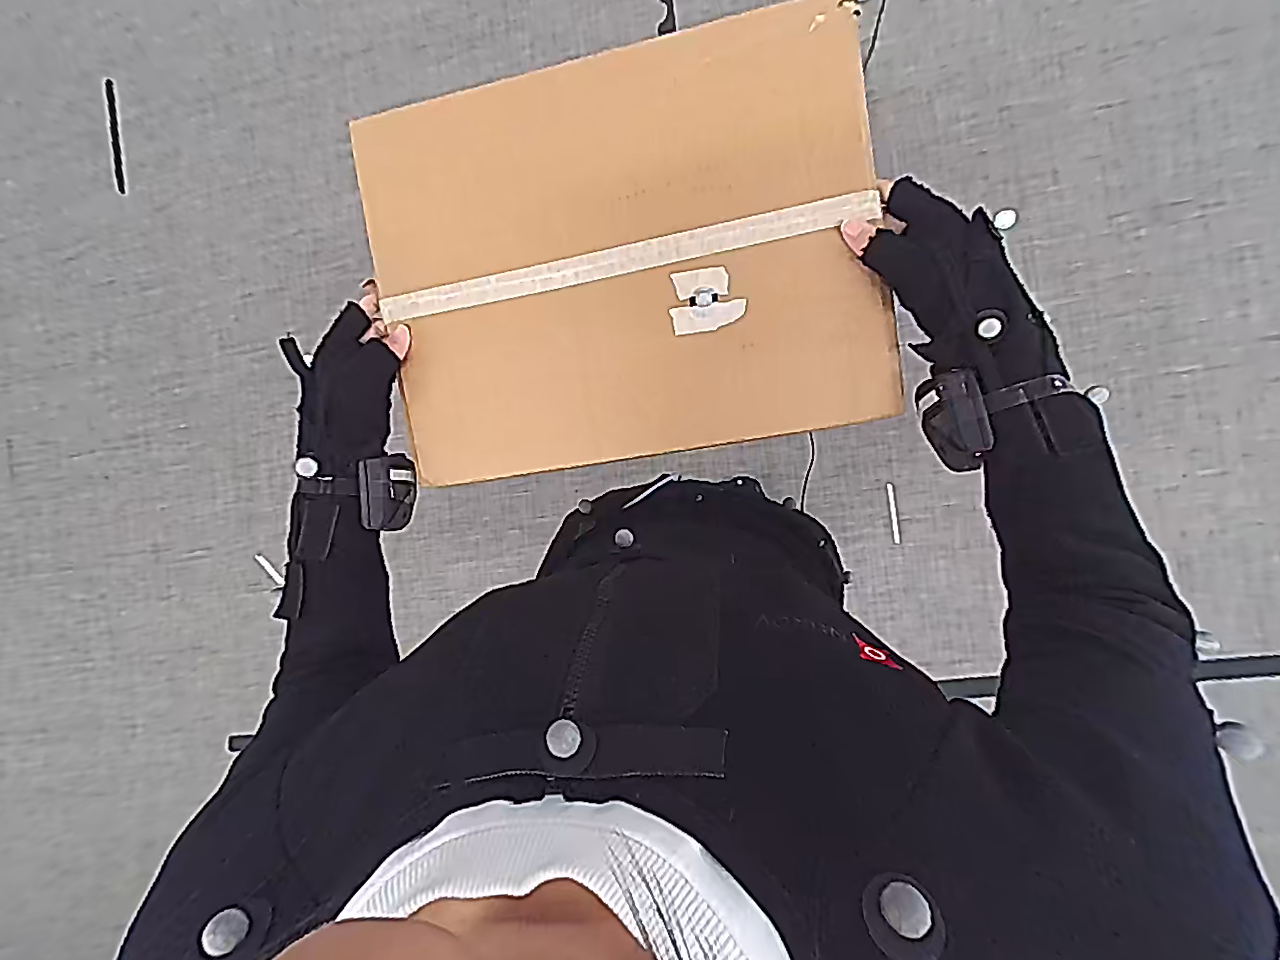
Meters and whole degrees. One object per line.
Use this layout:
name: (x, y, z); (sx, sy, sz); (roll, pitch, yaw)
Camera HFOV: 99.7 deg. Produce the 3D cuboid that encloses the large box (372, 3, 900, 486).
large box: (0.005, -0.190, 0.591); (0.408, 0.320, 0.320); (-9, 95, 8)
